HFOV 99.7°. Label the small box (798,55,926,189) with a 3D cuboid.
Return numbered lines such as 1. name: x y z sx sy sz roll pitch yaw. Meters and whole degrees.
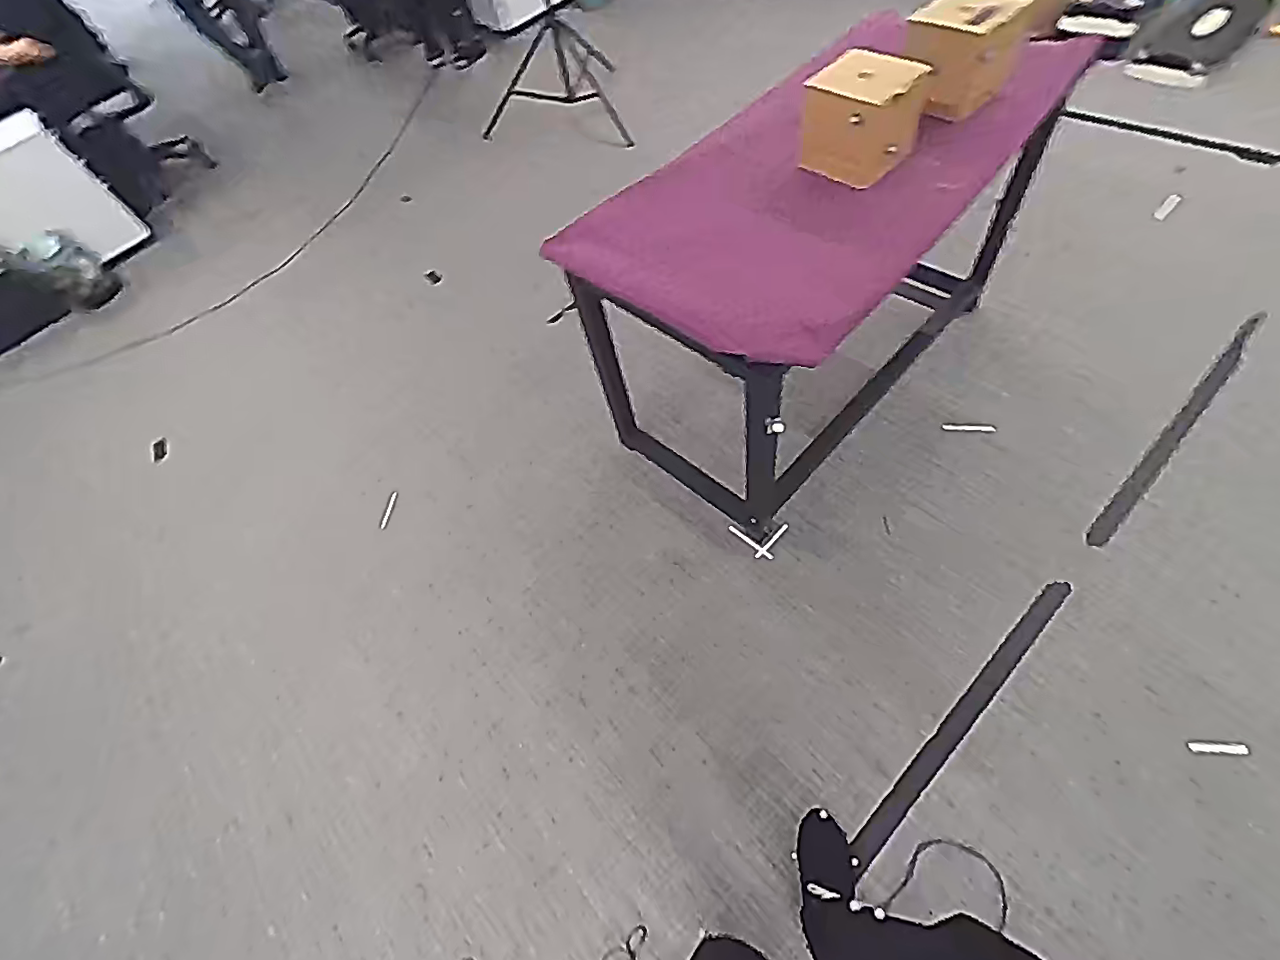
1. small box: 0.451 -0.745 1.133 0.168 0.176 0.179 -42 61 -15
